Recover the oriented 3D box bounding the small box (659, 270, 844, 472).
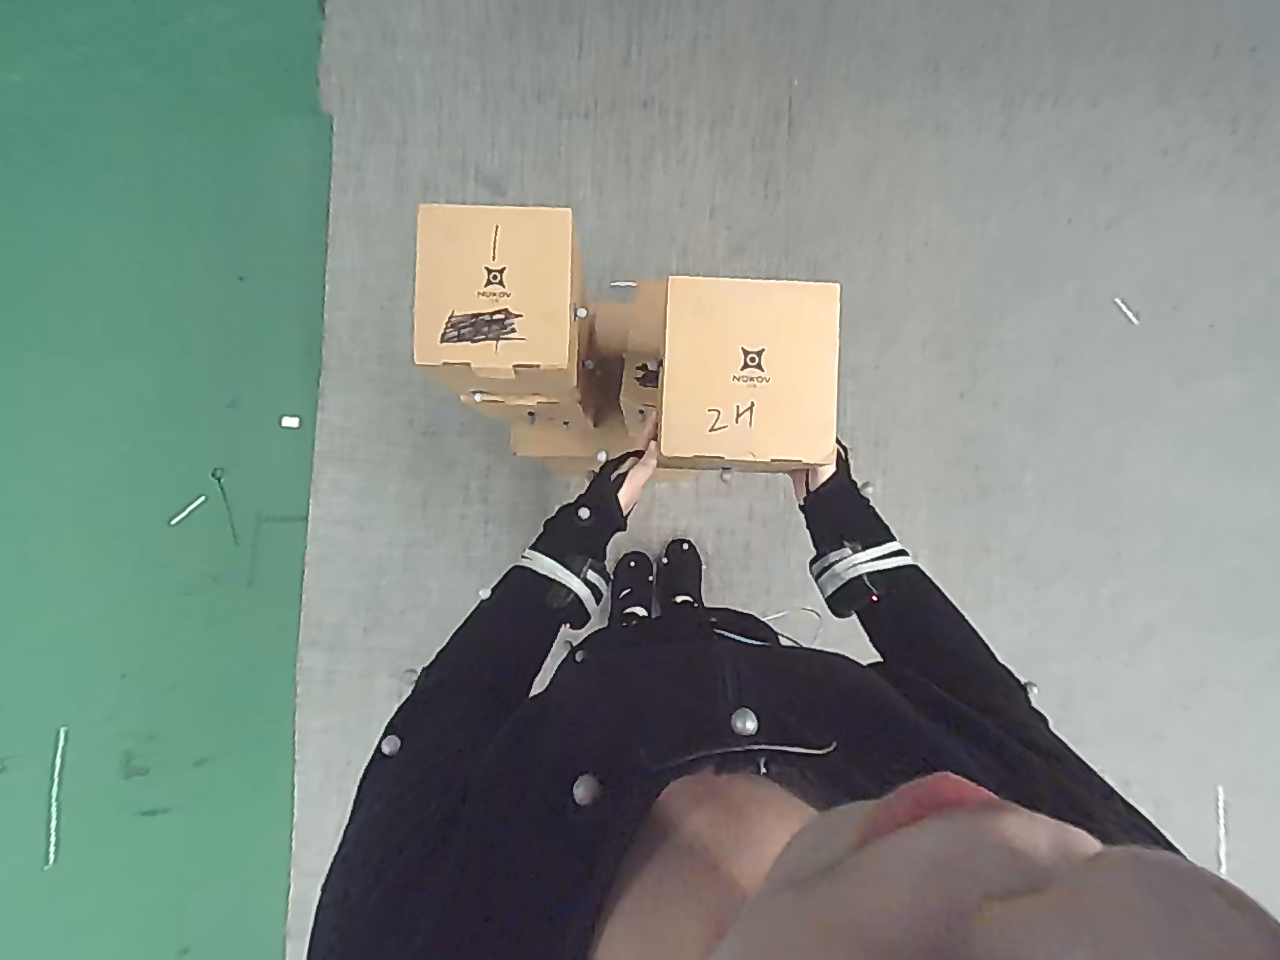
[{"bbox_3d":[0.107,-0.104,0.584,0.168,0.176,0.179,2,87,1],"label":"small box"}]

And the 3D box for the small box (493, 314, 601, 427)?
[{"bbox_3d":[-0.160,-0.193,0.982,0.168,0.176,0.179,3,87,-1],"label":"small box"}]

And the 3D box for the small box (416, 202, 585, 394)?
[{"bbox_3d":[-0.155,-0.205,0.654,0.168,0.176,0.179,1,86,-1],"label":"small box"}]

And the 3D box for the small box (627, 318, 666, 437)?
[{"bbox_3d":[0.072,-0.170,0.977,0.168,0.176,0.179,8,87,3],"label":"small box"}]
